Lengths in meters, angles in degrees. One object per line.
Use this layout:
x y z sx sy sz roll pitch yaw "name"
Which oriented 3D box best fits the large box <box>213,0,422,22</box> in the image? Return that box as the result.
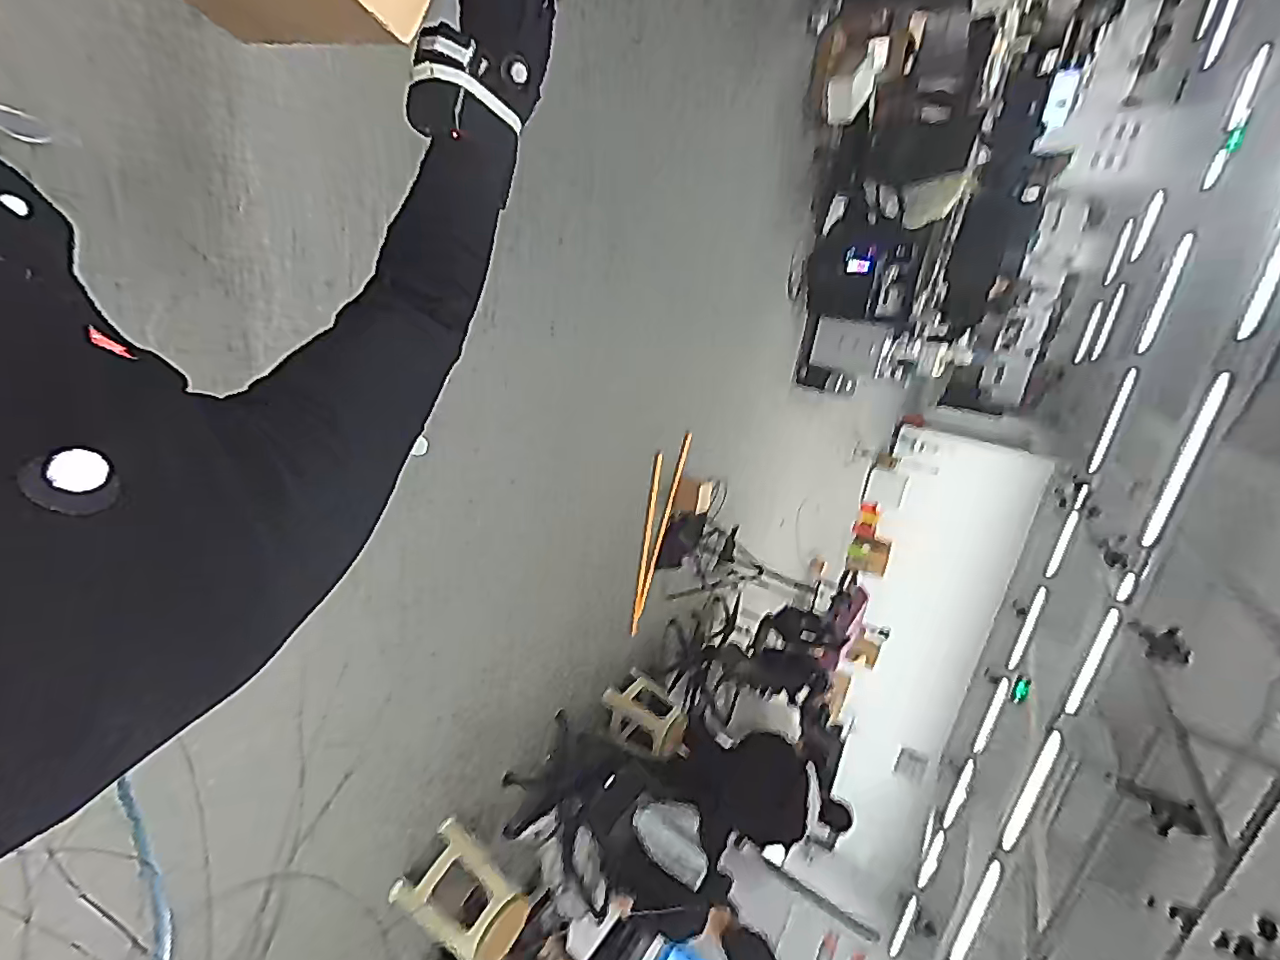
-0.309 -0.542 0.267 0.408 0.320 0.320 16 102 -59 "large box"
